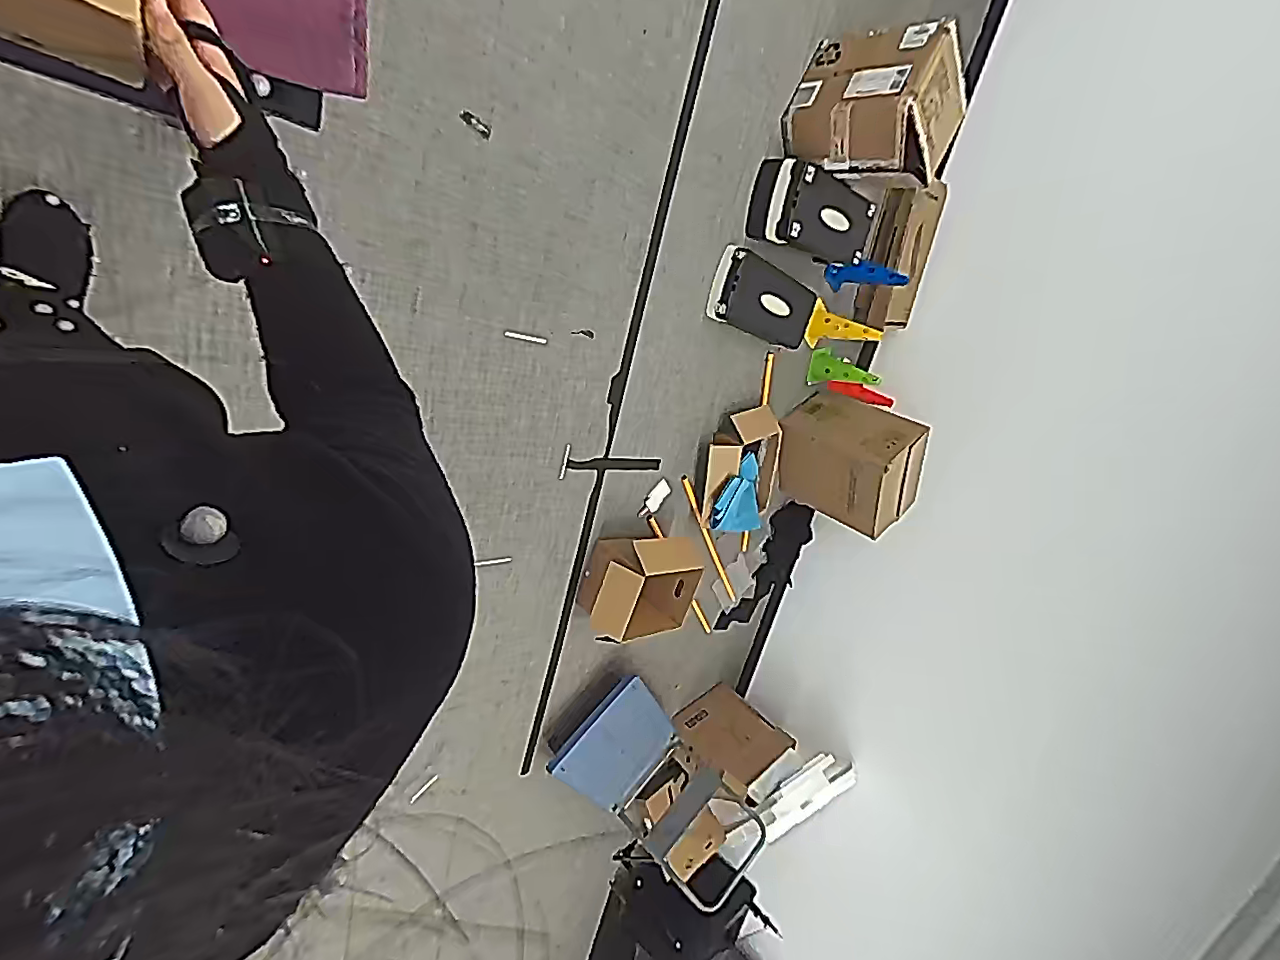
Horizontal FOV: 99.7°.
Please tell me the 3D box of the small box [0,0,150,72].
[{"bbox_3d":[-0.397,-0.389,0.317,0.168,0.176,0.179,2,104,-44],"label":"small box"}]
